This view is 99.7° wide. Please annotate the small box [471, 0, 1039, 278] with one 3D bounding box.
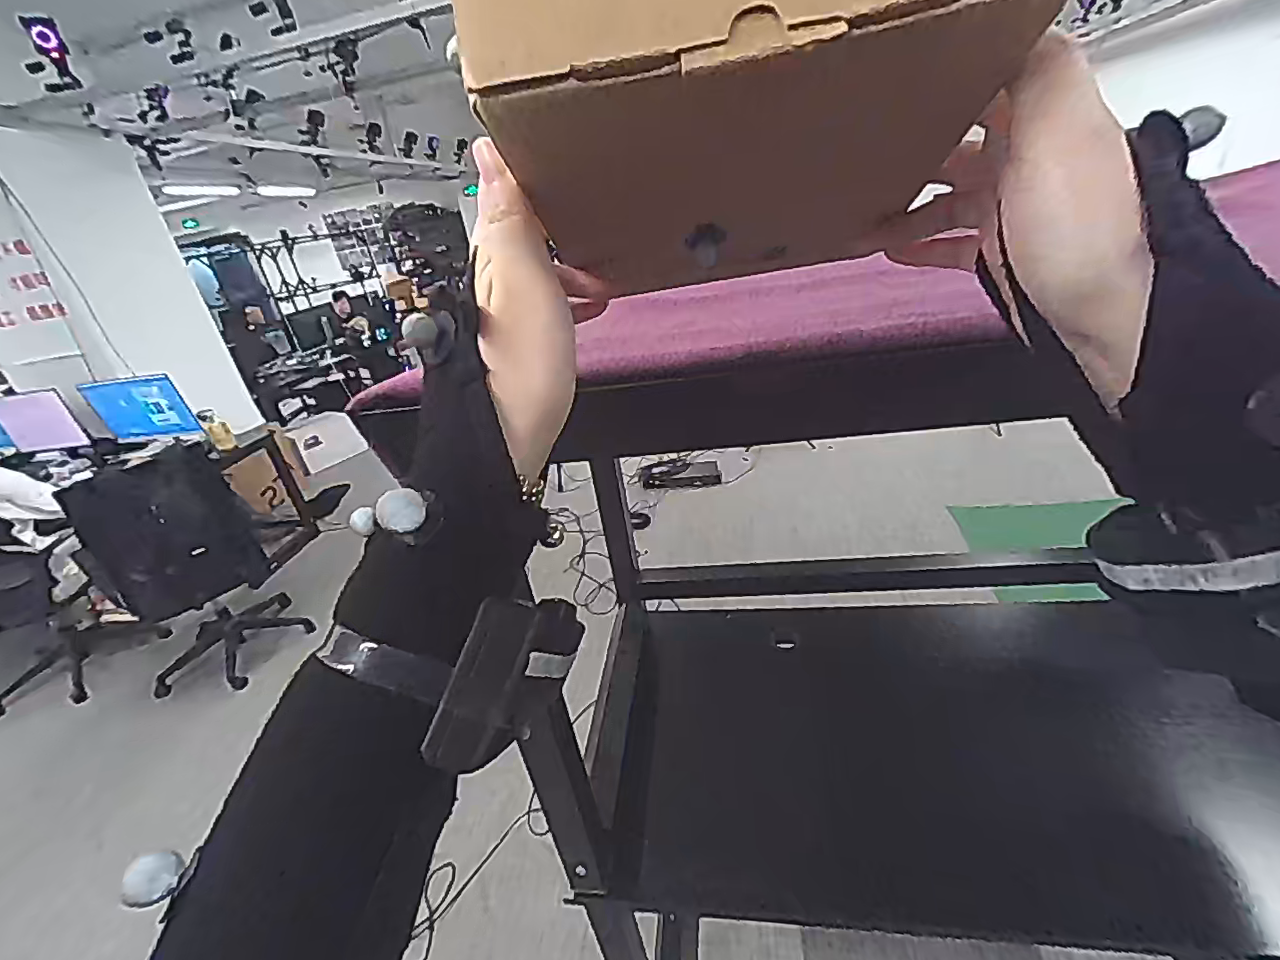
[{"bbox_3d":[0.031,-0.212,0.229,0.168,0.179,0.176,-8,-1,6],"label":"small box"}]
